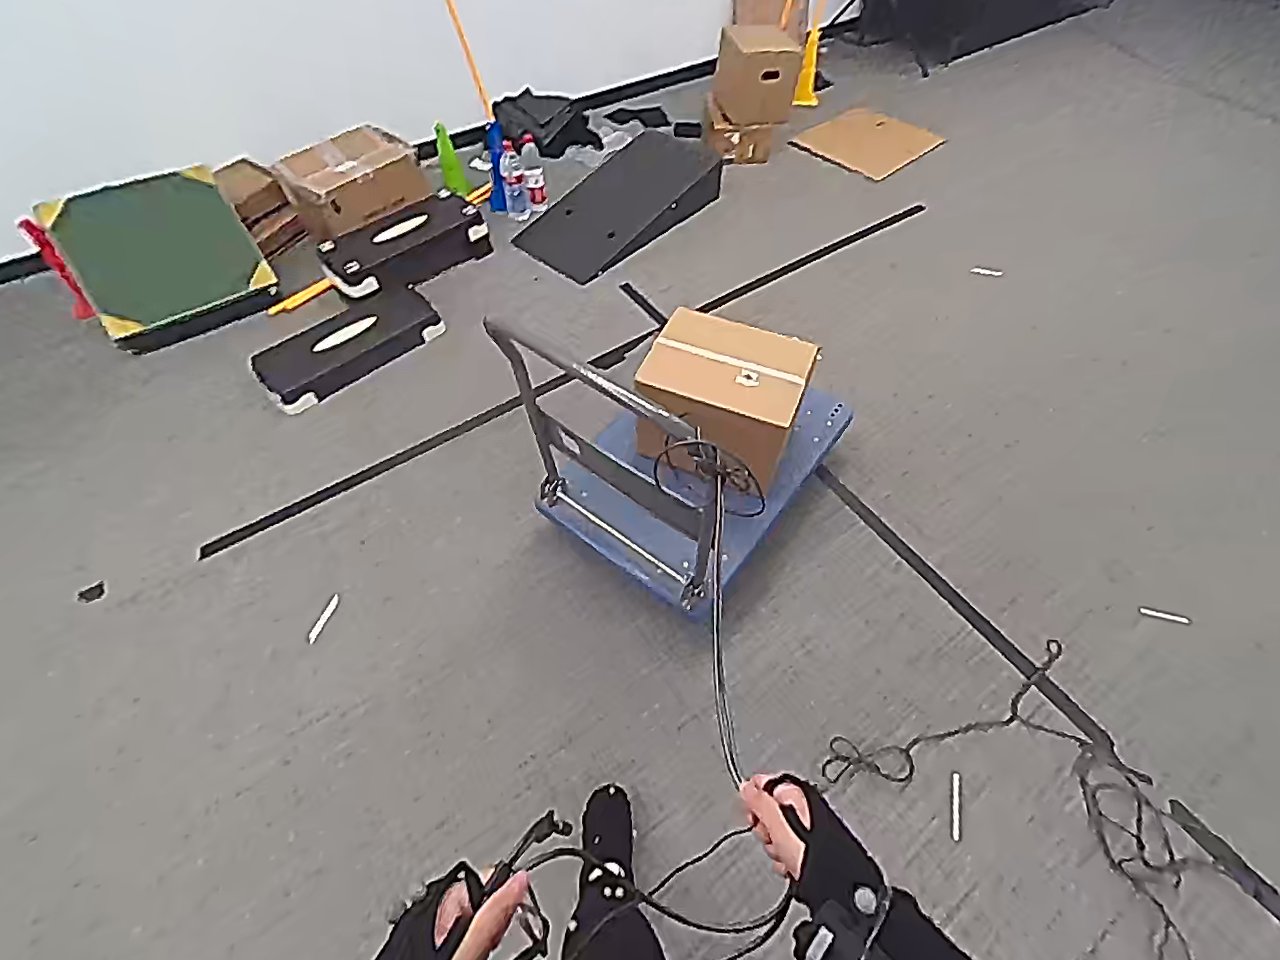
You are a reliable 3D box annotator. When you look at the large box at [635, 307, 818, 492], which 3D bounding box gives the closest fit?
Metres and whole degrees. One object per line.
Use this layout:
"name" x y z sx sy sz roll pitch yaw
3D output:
"large box" 0.223 -0.221 1.502 0.408 0.320 0.320 20 59 13
